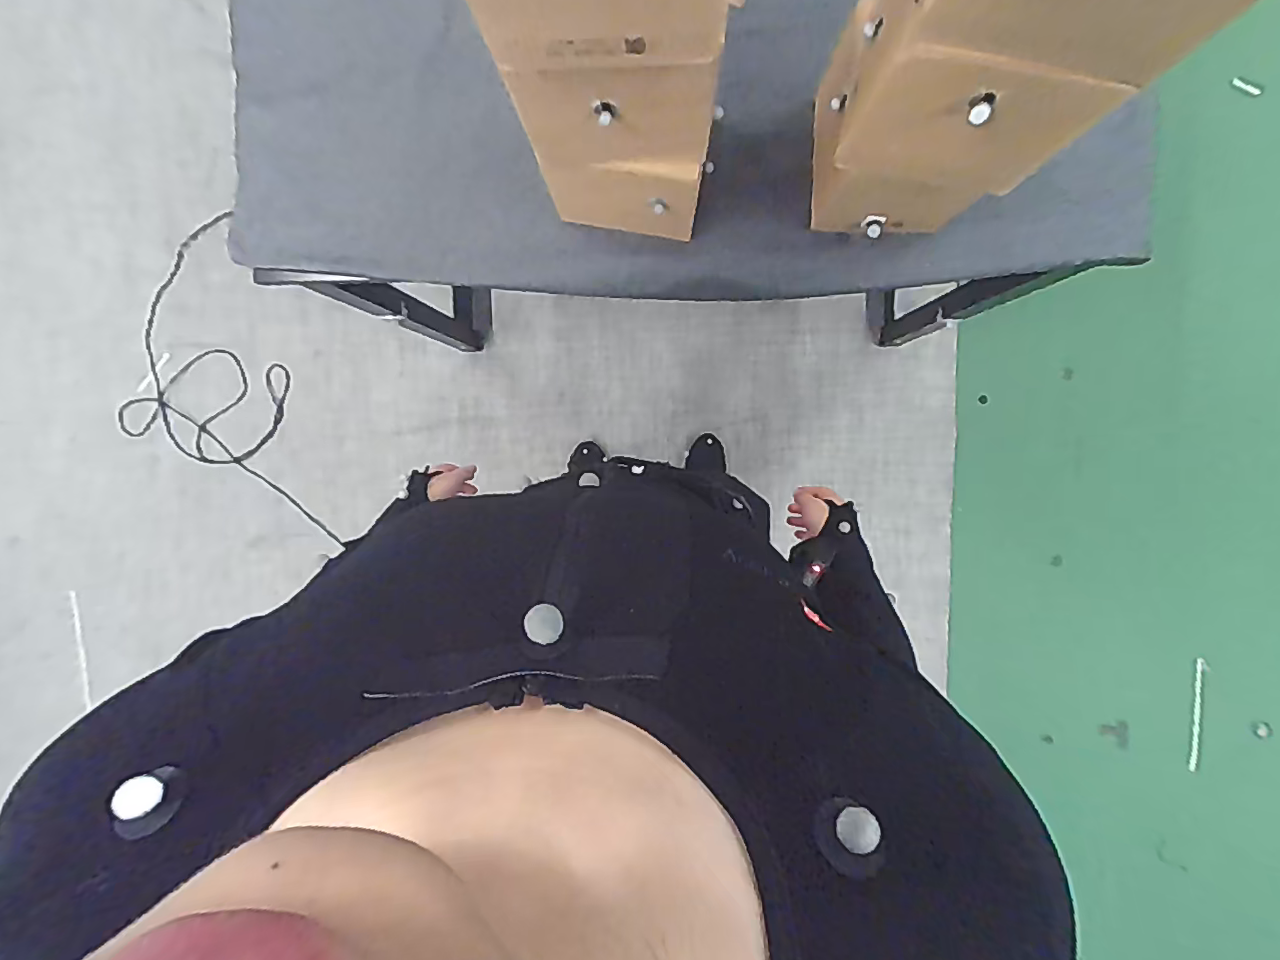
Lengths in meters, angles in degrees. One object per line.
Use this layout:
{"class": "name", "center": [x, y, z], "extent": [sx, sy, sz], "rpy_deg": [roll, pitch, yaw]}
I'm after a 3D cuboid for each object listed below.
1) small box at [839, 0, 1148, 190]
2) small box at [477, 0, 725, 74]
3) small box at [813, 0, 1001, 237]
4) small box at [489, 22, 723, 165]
{"class": "small box", "center": [0.296, -0.377, 0.464], "extent": [0.179, 0.176, 0.168], "rpy_deg": [12, 94, 4]}
{"class": "small box", "center": [-0.028, -0.383, 0.313], "extent": [0.168, 0.176, 0.179], "rpy_deg": [0, 93, 3]}
{"class": "small box", "center": [0.305, -0.402, 0.625], "extent": [0.168, 0.176, 0.179], "rpy_deg": [1, 94, 4]}
{"class": "small box", "center": [-0.022, -0.403, 0.476], "extent": [0.179, 0.176, 0.168], "rpy_deg": [1, 93, 3]}
